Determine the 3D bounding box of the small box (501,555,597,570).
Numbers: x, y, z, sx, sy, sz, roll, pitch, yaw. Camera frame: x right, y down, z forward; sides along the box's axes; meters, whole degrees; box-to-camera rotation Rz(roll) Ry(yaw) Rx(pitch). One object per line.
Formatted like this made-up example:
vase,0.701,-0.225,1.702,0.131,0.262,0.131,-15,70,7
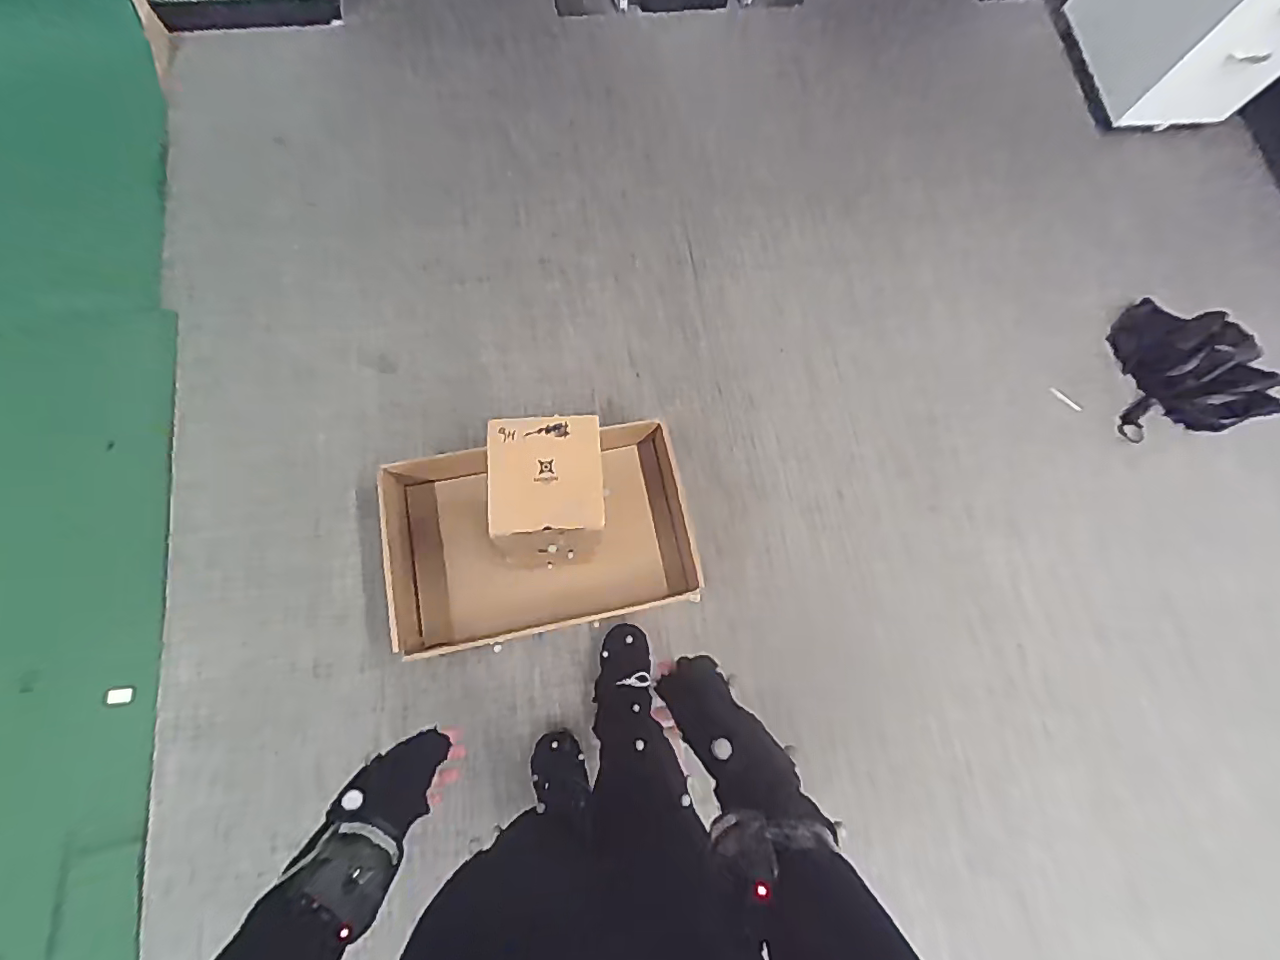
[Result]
small box,-0.166,0.074,1.024,0.168,0.176,0.179,-3,73,-6

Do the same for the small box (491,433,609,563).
small box,-0.141,0.038,0.887,0.168,0.176,0.179,-5,74,-2

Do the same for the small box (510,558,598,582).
small box,-0.185,0.129,1.192,0.179,0.176,0.168,-5,73,-3
